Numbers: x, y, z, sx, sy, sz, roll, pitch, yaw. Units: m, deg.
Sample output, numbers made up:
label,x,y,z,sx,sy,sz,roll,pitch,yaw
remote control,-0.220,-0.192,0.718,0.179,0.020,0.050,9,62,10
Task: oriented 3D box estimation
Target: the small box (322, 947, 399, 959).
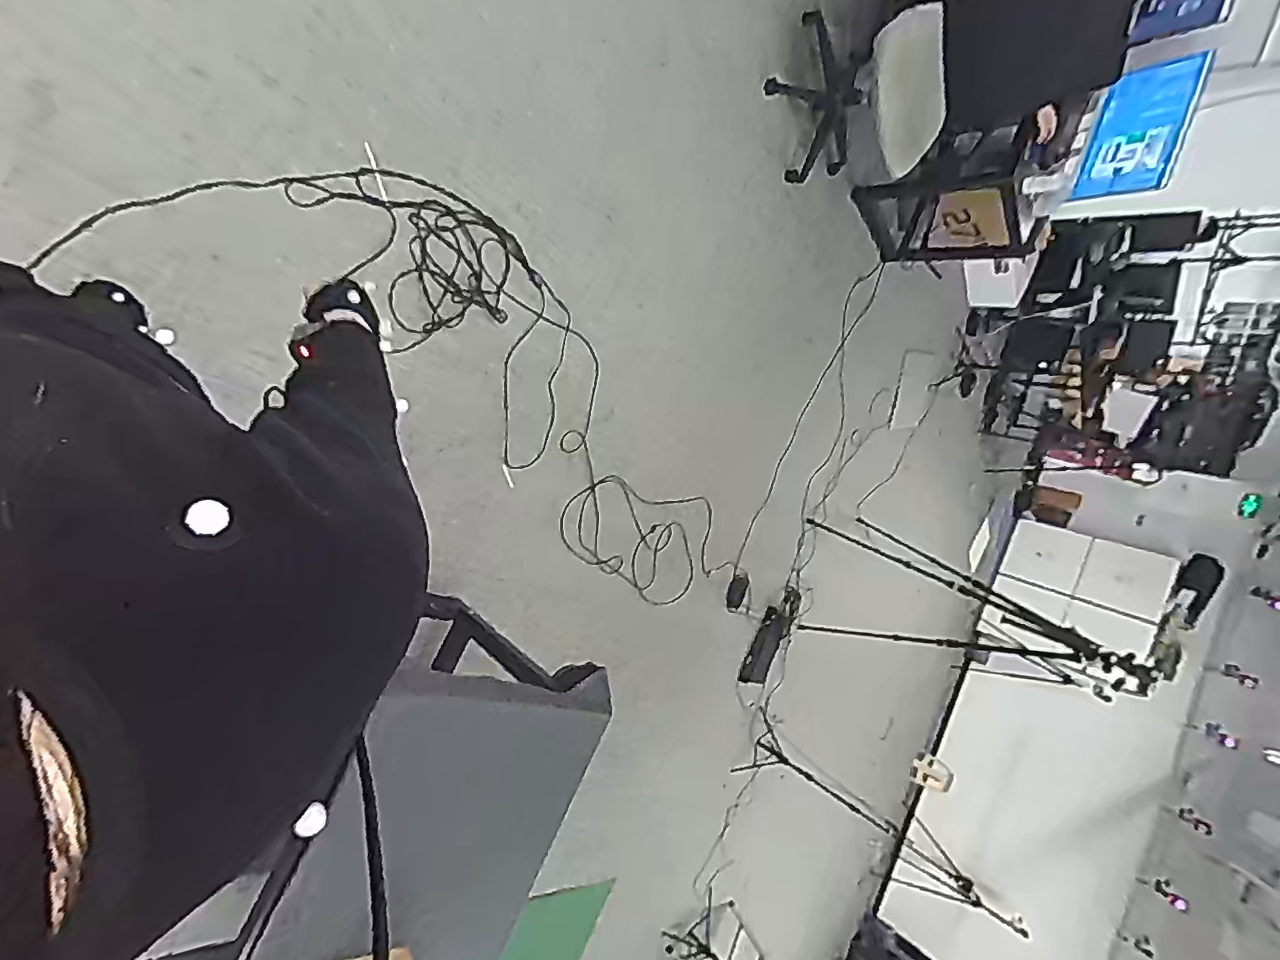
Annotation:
label,x,y,z,sx,sy,sz,roll,pitch,yaw
small box,-0.488,0.924,0.890,0.179,0.176,0.168,40,75,-47
